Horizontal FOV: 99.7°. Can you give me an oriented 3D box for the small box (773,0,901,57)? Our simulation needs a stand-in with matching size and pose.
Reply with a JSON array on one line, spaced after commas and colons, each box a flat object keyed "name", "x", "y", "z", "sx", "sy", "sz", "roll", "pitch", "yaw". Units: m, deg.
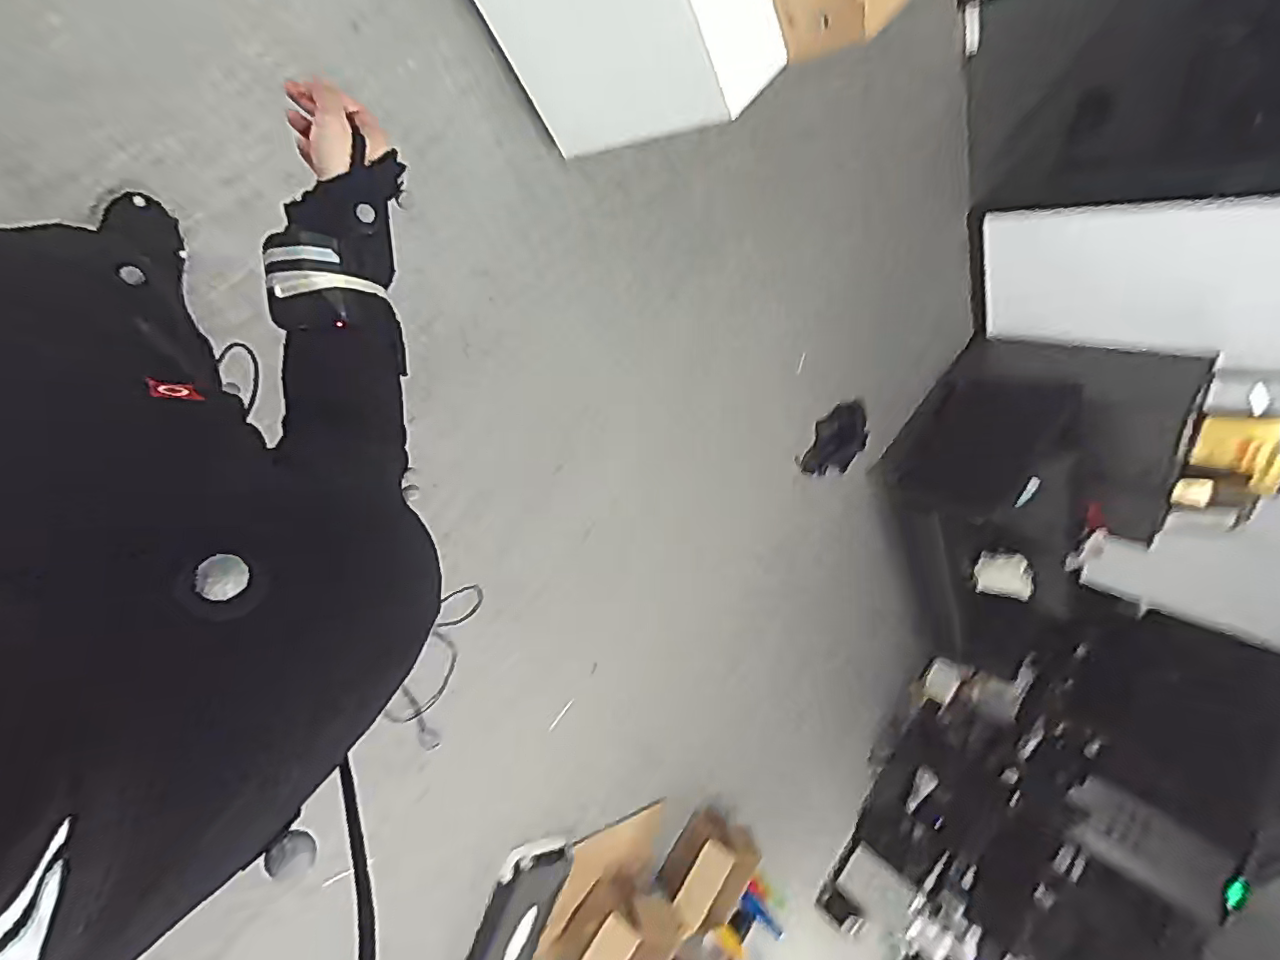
[{"name": "small box", "x": 0.337, "y": -0.869, "z": 0.920, "sx": 0.179, "sy": 0.176, "sz": 0.168, "roll": -52, "pitch": 134, "yaw": -14}]
